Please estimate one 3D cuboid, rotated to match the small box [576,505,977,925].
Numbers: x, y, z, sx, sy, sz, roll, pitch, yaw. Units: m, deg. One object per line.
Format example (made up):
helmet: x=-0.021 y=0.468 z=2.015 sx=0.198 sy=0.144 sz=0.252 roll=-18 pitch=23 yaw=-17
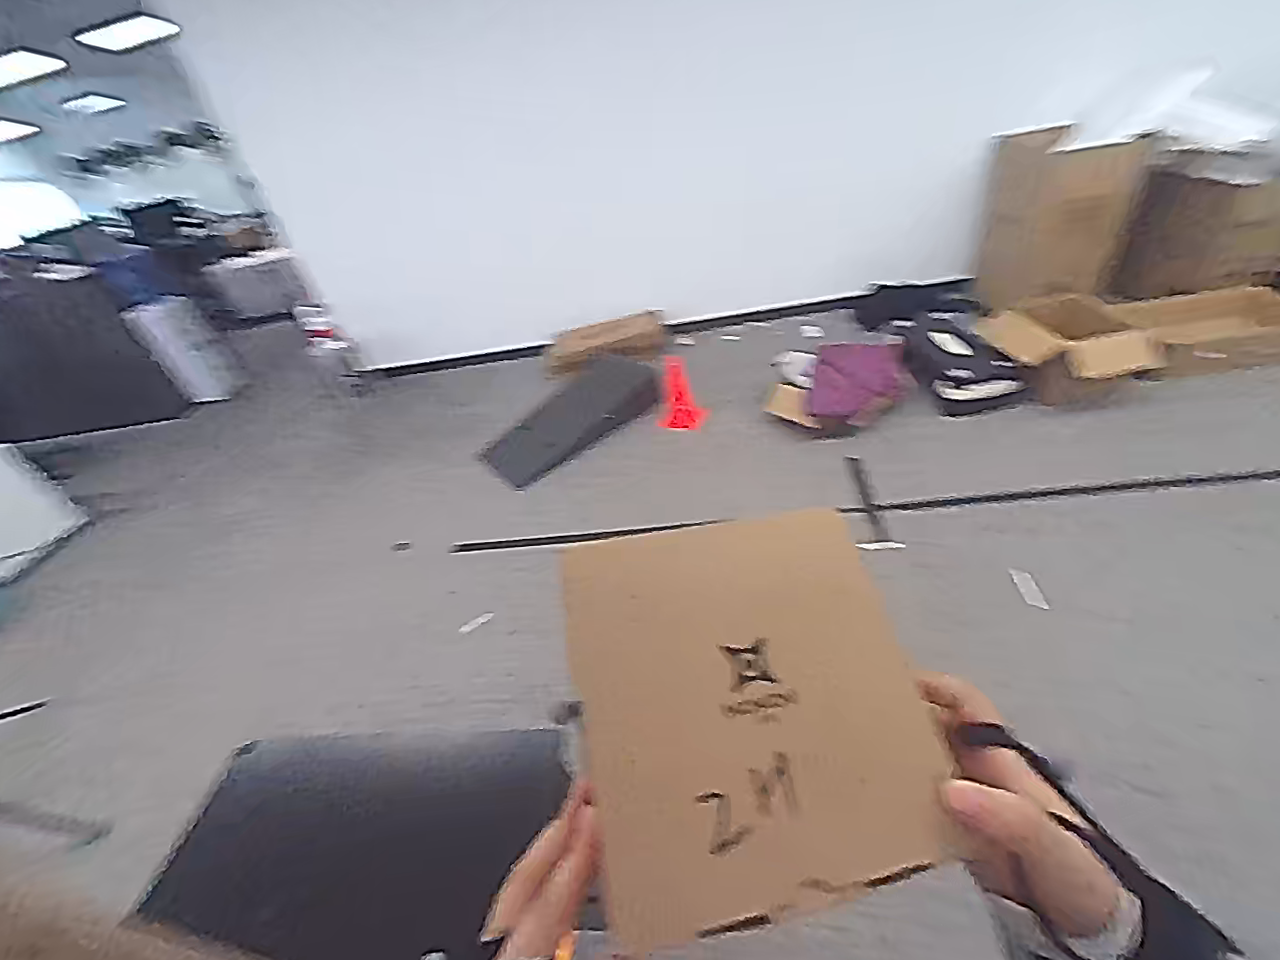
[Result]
small box: x=0.050 y=0.138 z=0.339 sx=0.168 sy=0.176 sz=0.179 roll=-7 pitch=60 yaw=-10
